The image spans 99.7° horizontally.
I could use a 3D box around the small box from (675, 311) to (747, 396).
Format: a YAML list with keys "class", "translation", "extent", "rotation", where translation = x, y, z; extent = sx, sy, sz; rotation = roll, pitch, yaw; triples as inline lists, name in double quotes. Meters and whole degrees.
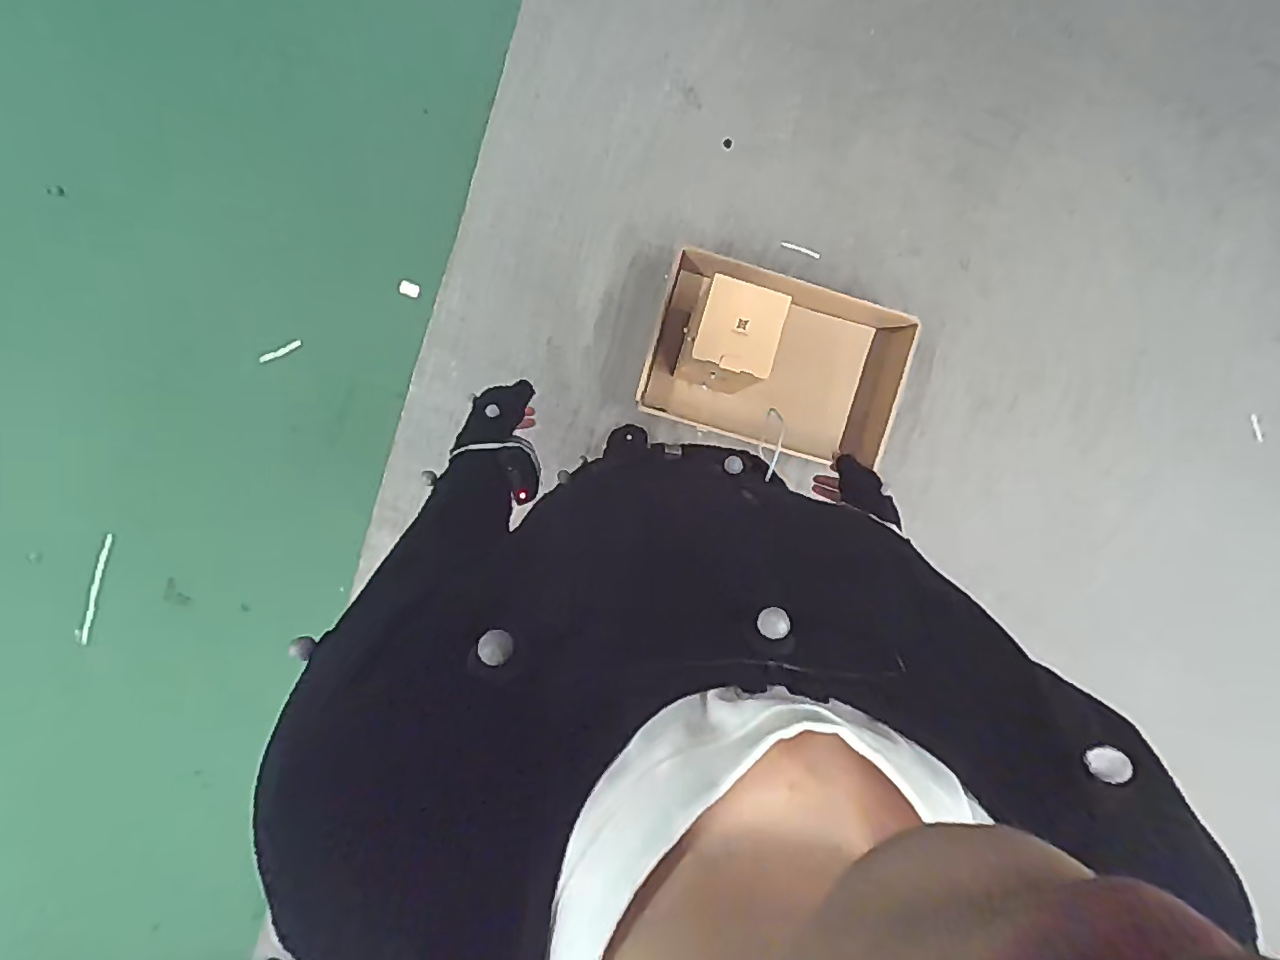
- class: "small box"
  translation: [0.188, -0.316, 1.324]
  extent: [0.168, 0.176, 0.179]
  rotation: [15, 93, -3]

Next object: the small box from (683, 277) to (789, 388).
- class: "small box"
  translation: [0.197, -0.307, 1.162]
  extent: [0.168, 0.176, 0.179]
  rotation: [14, 93, -4]
